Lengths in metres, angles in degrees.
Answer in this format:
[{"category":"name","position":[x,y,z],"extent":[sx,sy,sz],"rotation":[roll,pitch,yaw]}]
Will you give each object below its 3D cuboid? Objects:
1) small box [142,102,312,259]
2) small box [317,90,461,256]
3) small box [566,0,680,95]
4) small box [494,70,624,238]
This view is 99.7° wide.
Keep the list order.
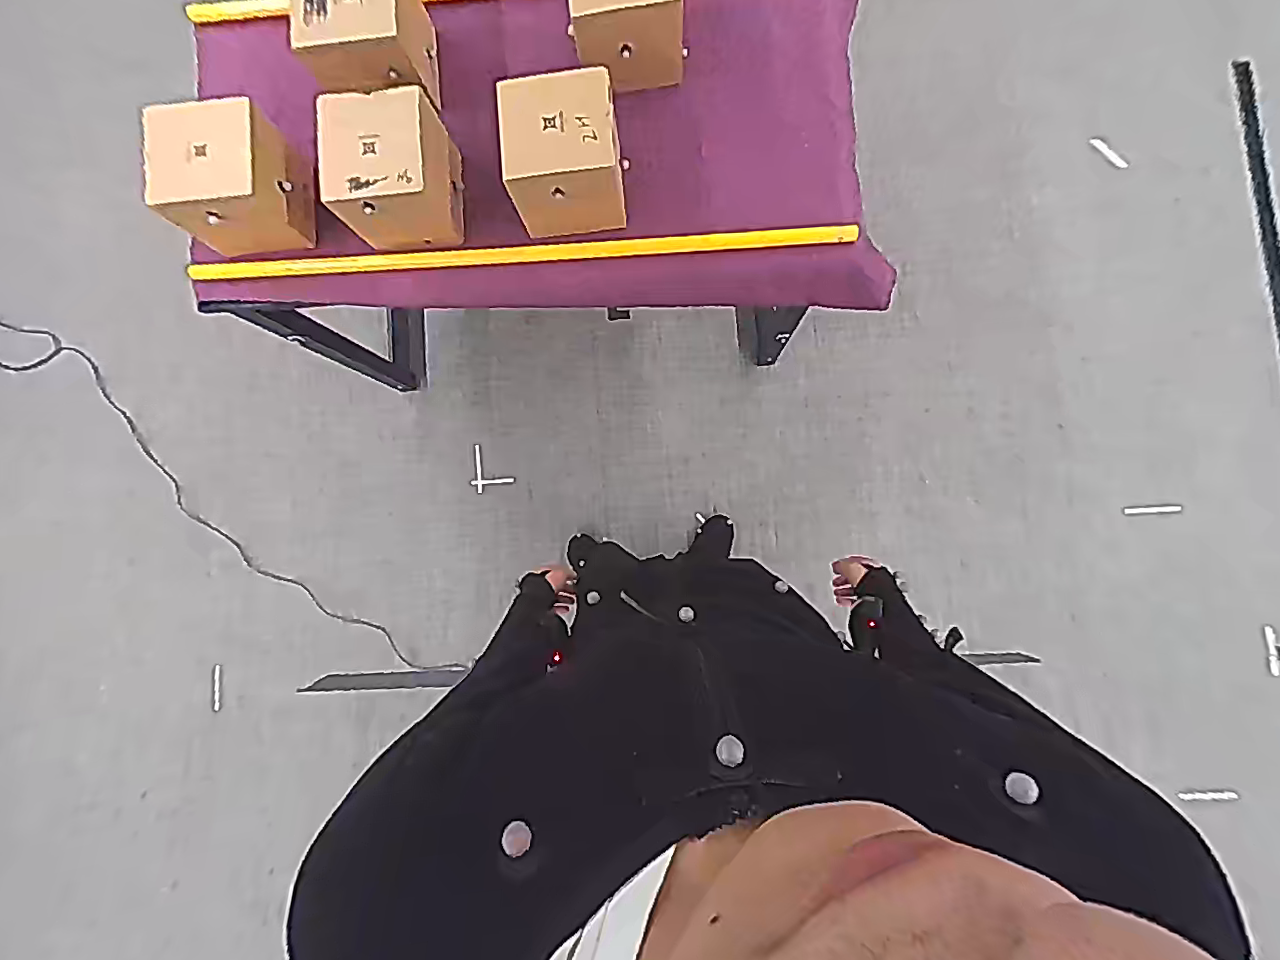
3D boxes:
[{"category":"small box","position":[-0.693,-0.502,0.928],"extent":[0.179,0.176,0.168],"rotation":[-5,85,2]},{"category":"small box","position":[-0.412,-0.507,0.911],"extent":[0.168,0.176,0.179],"rotation":[-4,85,4]},{"category":"small box","position":[-0.028,-0.787,0.906],"extent":[0.179,0.176,0.168],"rotation":[-6,86,4]},{"category":"small box","position":[-0.127,-0.523,0.893],"extent":[0.179,0.176,0.168],"rotation":[-5,84,3]}]
